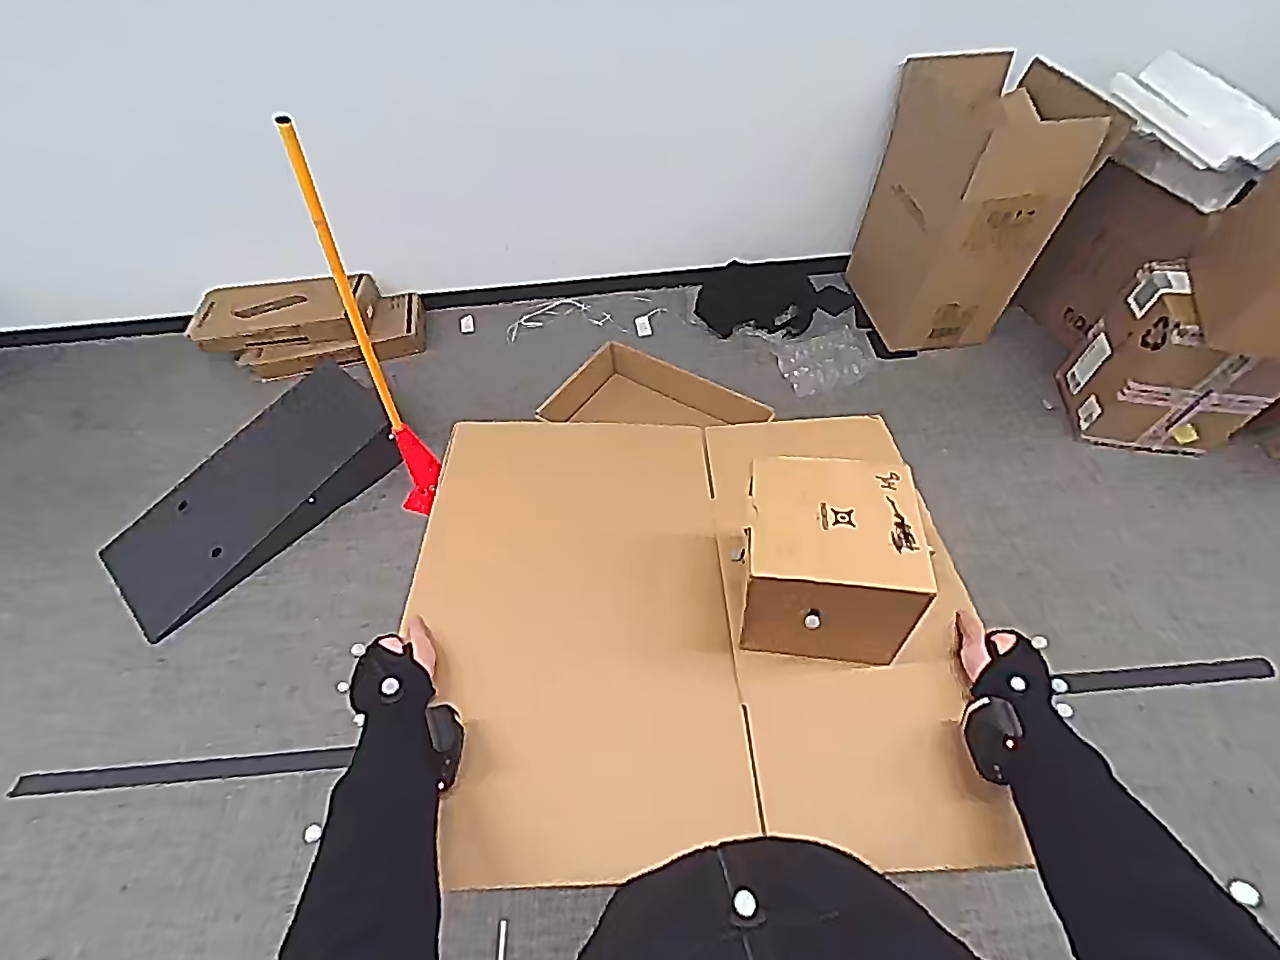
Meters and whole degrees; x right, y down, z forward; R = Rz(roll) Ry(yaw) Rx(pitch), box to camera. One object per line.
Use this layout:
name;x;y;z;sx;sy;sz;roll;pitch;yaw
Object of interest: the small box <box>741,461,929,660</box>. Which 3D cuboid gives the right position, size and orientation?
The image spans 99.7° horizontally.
small box;0.211;0.096;0.635;0.179;0.176;0.168;3;49;10
